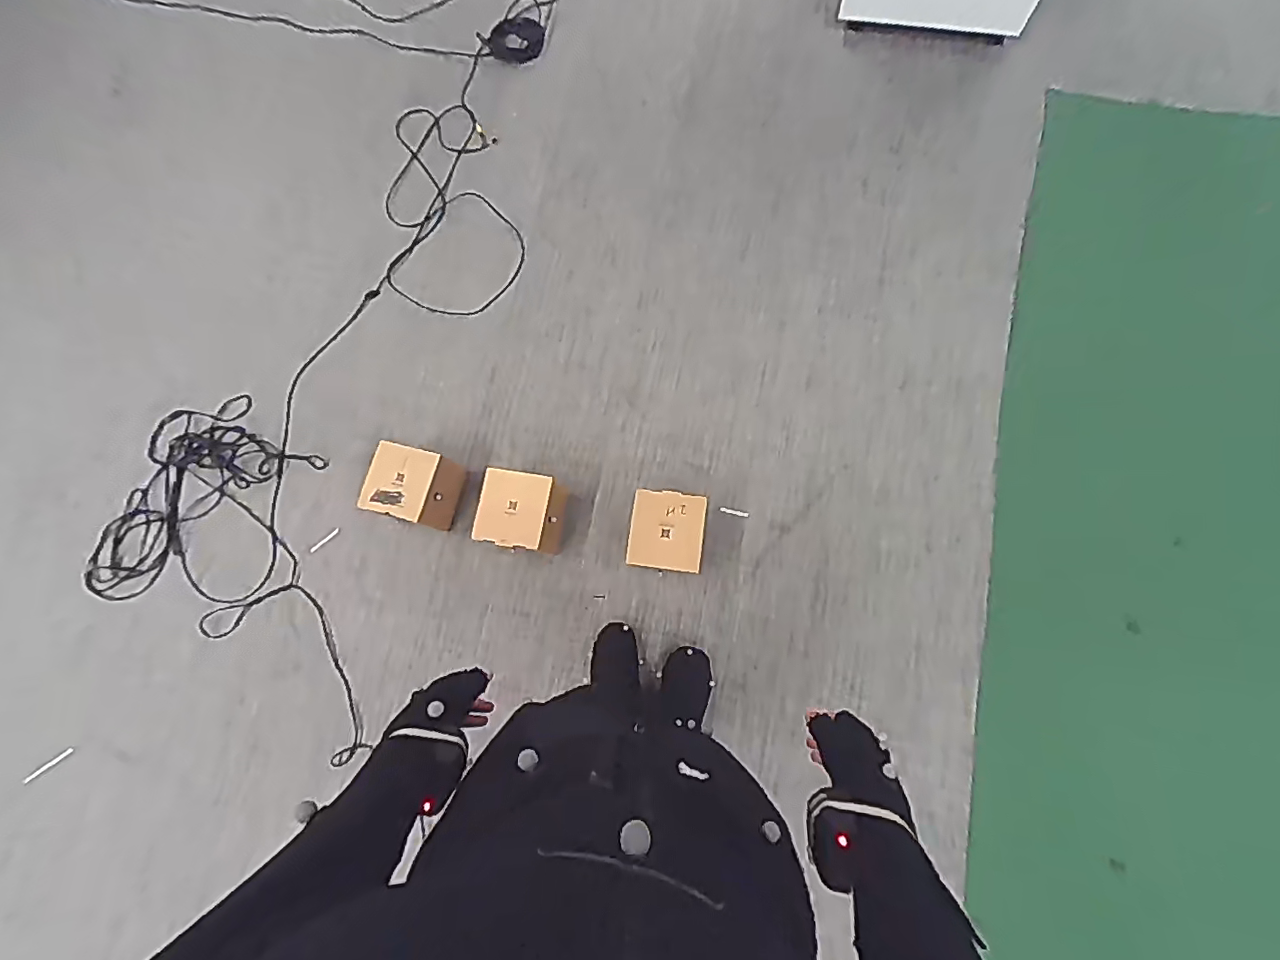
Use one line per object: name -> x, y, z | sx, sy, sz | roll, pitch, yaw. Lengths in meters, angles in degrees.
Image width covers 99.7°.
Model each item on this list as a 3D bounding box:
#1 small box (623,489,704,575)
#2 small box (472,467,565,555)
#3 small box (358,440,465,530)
small box -> 0.062, 0.131, 1.297 | 0.168, 0.176, 0.179 | 7, 78, 6
small box -> -0.292, 0.082, 1.343 | 0.168, 0.176, 0.179 | 9, 79, 7
small box -> -0.573, 0.019, 1.382 | 0.168, 0.176, 0.179 | 14, 78, 8
